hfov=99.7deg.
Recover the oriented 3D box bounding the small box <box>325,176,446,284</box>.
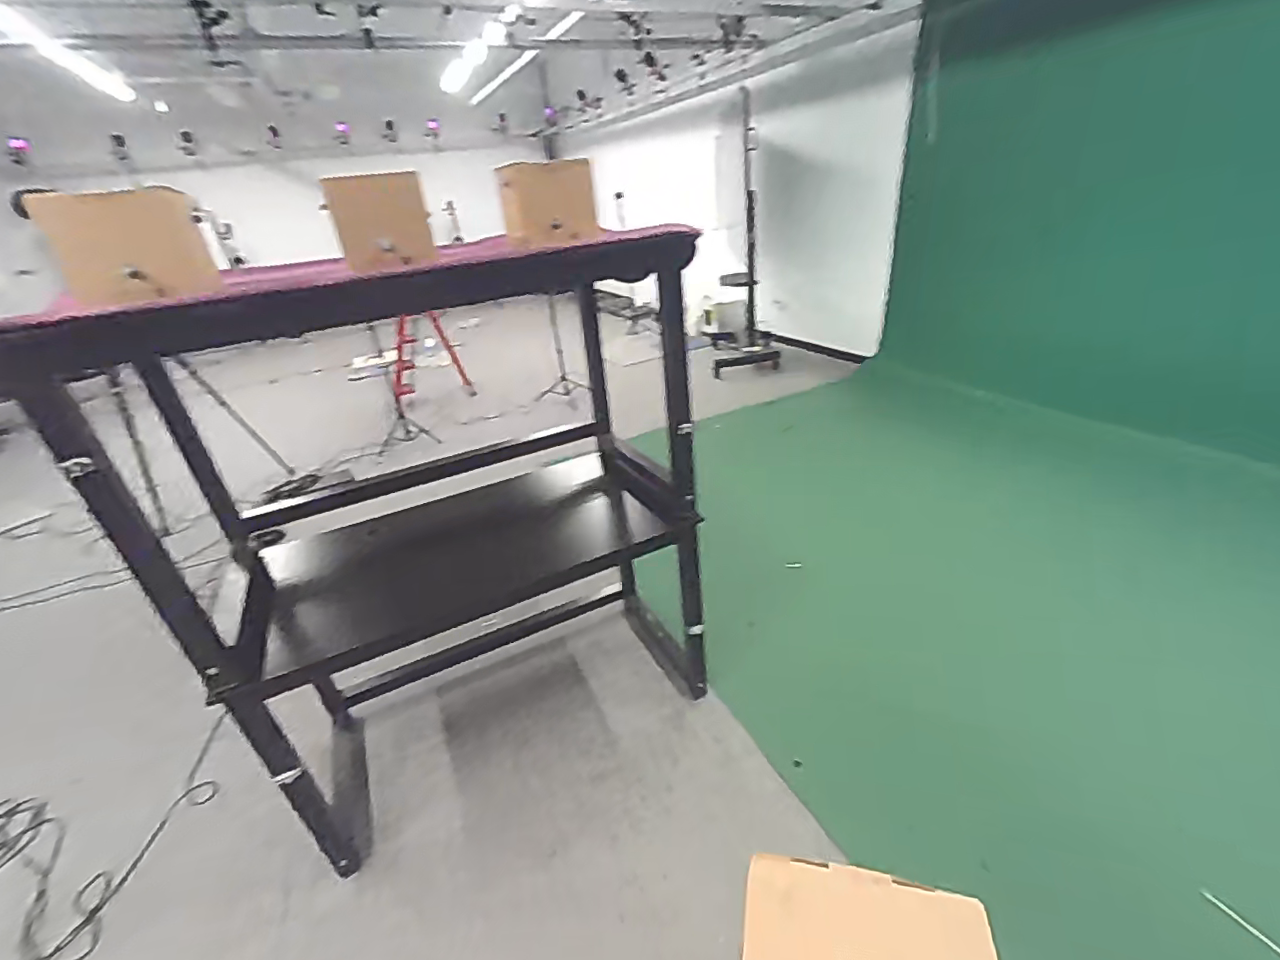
[{"bbox_3d":[-0.488,-0.483,1.046,0.168,0.176,0.179,-18,32,-20],"label":"small box"}]

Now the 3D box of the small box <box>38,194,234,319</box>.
[{"bbox_3d":[-0.811,-0.370,0.898,0.168,0.176,0.179,-18,29,-21],"label":"small box"}]

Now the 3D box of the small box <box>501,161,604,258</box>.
[{"bbox_3d":[-0.189,-0.583,1.170,0.168,0.176,0.179,-17,32,-19],"label":"small box"}]

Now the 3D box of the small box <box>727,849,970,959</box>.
[{"bbox_3d":[0.141,0.418,0.389,0.168,0.176,0.179,3,32,15],"label":"small box"}]
